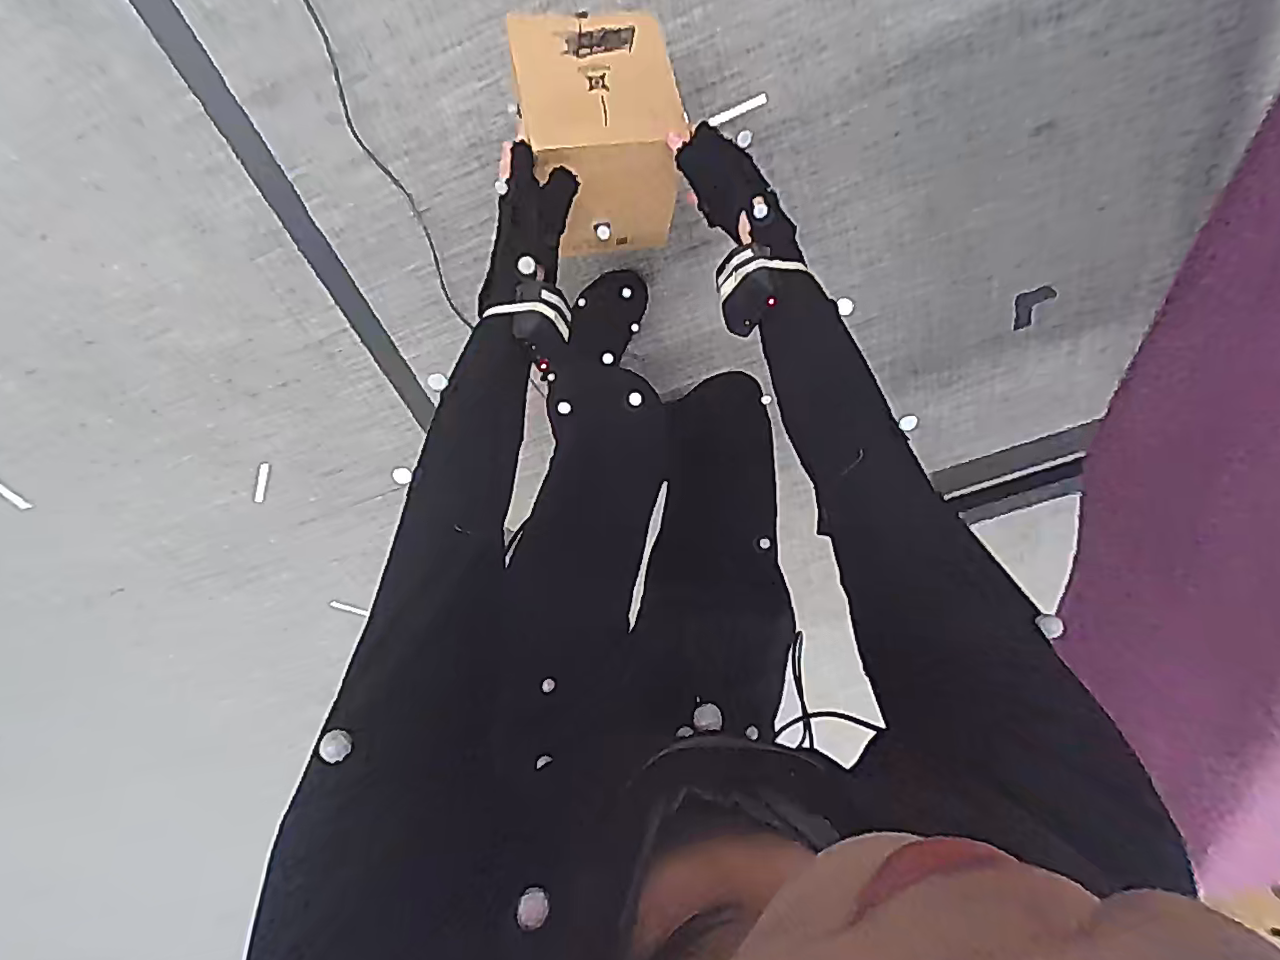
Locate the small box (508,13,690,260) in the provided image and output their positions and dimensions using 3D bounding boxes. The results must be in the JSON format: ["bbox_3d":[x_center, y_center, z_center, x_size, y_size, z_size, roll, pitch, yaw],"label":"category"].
[{"bbox_3d":[-0.052,-0.387,0.626,0.168,0.179,0.176,-9,166,-7],"label":"small box"}]
